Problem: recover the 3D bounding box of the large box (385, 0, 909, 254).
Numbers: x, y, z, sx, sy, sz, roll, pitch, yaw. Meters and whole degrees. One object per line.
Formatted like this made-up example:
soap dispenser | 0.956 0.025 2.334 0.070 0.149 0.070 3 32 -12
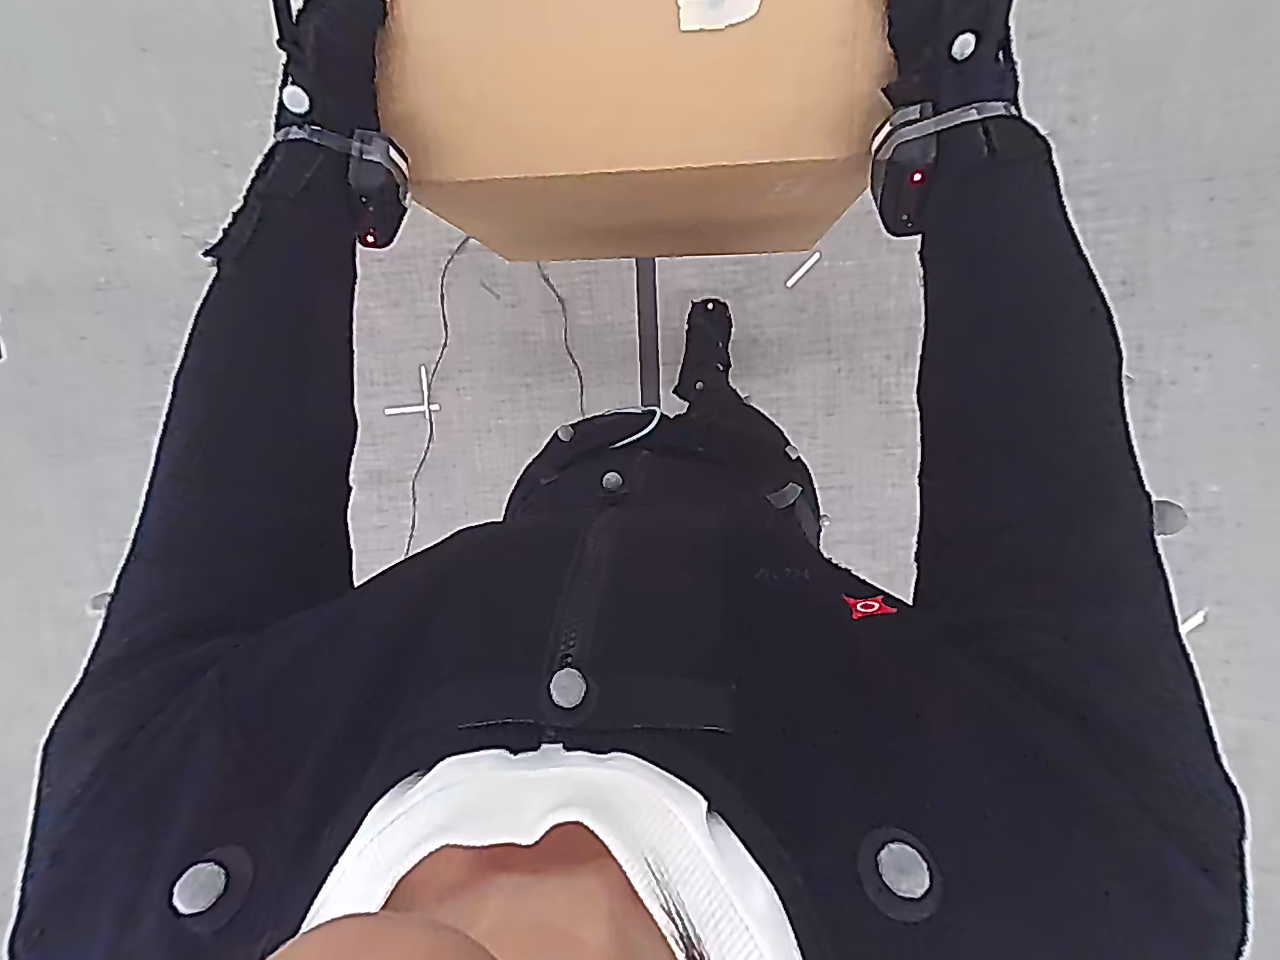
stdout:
large box | 0.007 -0.435 0.545 0.408 0.320 0.320 -1 101 5
